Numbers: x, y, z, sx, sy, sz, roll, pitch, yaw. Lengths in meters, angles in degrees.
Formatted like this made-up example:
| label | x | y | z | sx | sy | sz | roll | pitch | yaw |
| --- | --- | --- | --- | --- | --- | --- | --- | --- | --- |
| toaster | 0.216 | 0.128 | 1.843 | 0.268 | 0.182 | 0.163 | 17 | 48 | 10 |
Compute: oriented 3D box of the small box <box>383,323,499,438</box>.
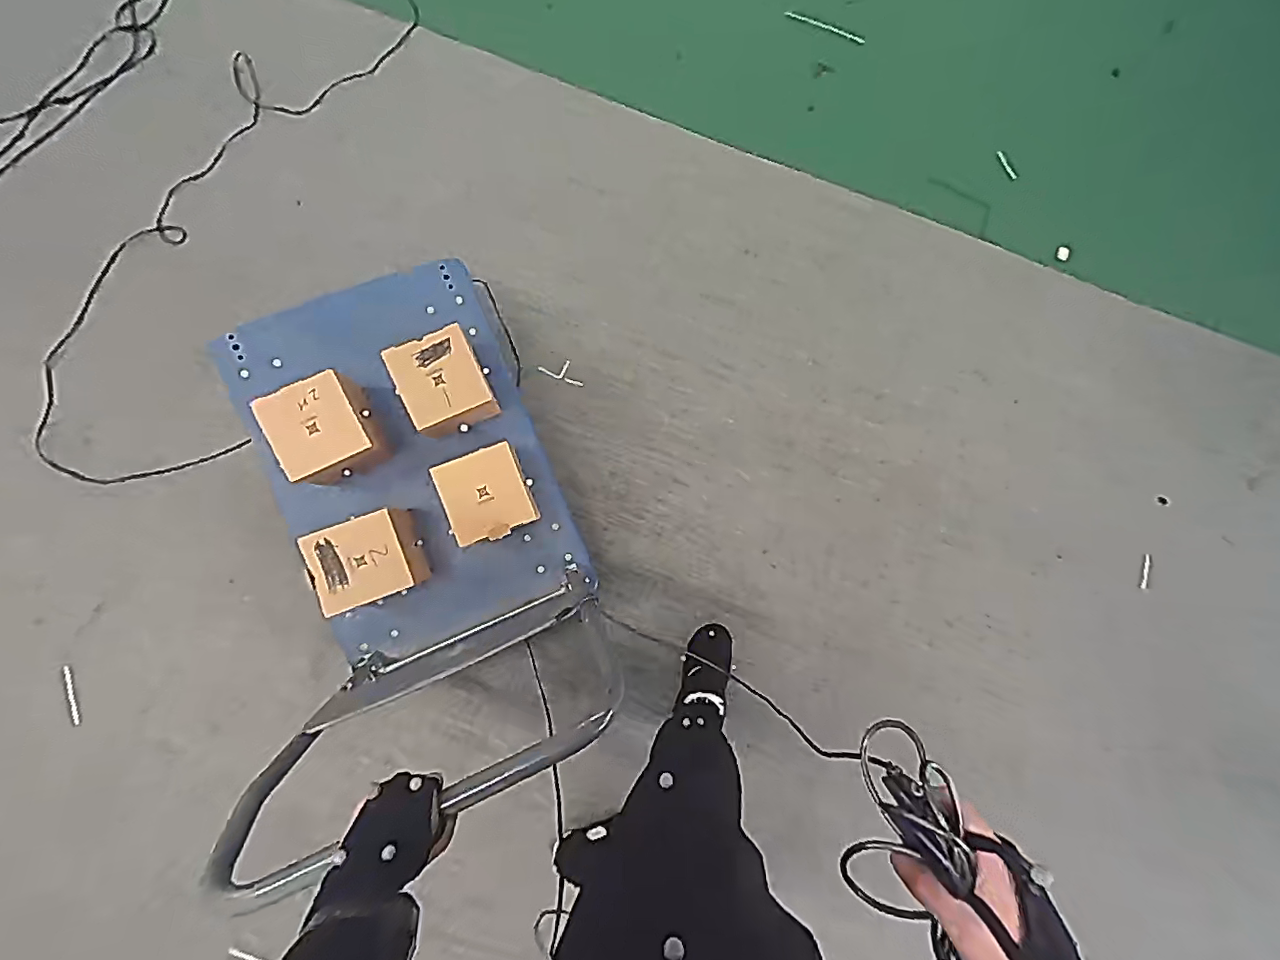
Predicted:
| label | x | y | z | sx | sy | sz | roll | pitch | yaw |
| --- | --- | --- | --- | --- | --- | --- | --- | --- | --- |
| small box | -0.419 | -0.206 | 1.166 | 0.168 | 0.176 | 0.179 | -25 | 92 | -9 |

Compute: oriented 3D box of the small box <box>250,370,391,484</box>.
| label | x | y | z | sx | sy | sz | roll | pitch | yaw |
| --- | --- | --- | --- | --- | --- | --- | --- | --- | --- |
| small box | -0.649 | -0.102 | 1.125 | 0.168 | 0.176 | 0.179 | -26 | 92 | -10 |

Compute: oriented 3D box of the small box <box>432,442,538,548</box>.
| label | x | y | z | sx | sy | sz | roll | pitch | yaw |
| --- | --- | --- | --- | --- | --- | --- | --- | --- | --- |
| small box | -0.328 | 0.033 | 1.173 | 0.168 | 0.176 | 0.179 | -22 | 92 | -9 |
